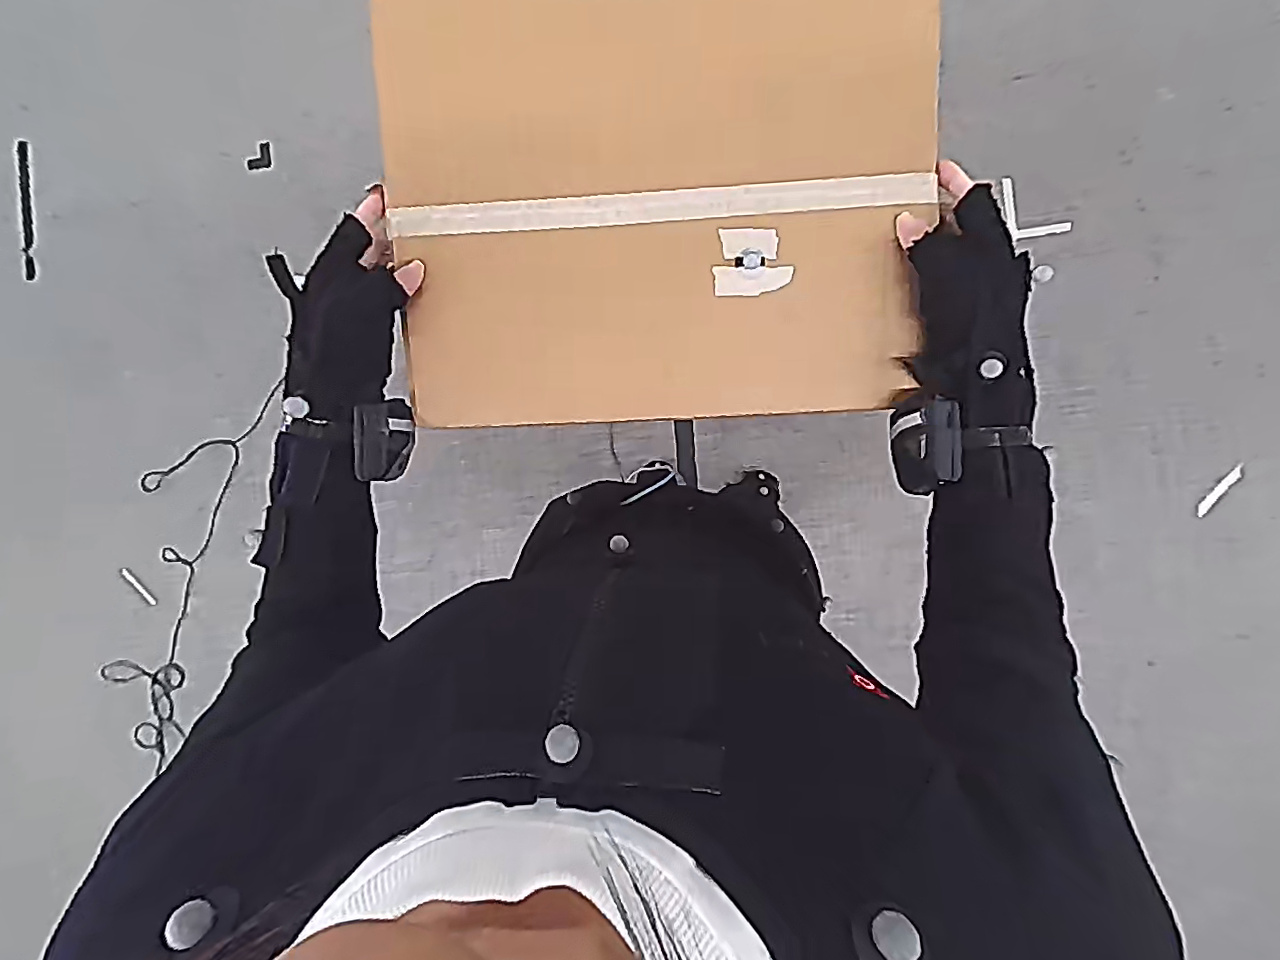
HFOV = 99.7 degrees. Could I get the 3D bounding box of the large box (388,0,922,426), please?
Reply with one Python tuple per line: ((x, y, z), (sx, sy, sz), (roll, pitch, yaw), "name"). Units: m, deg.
((0.018, -0.228, 0.566), (0.408, 0.320, 0.320), (-3, 98, 2), "large box")
